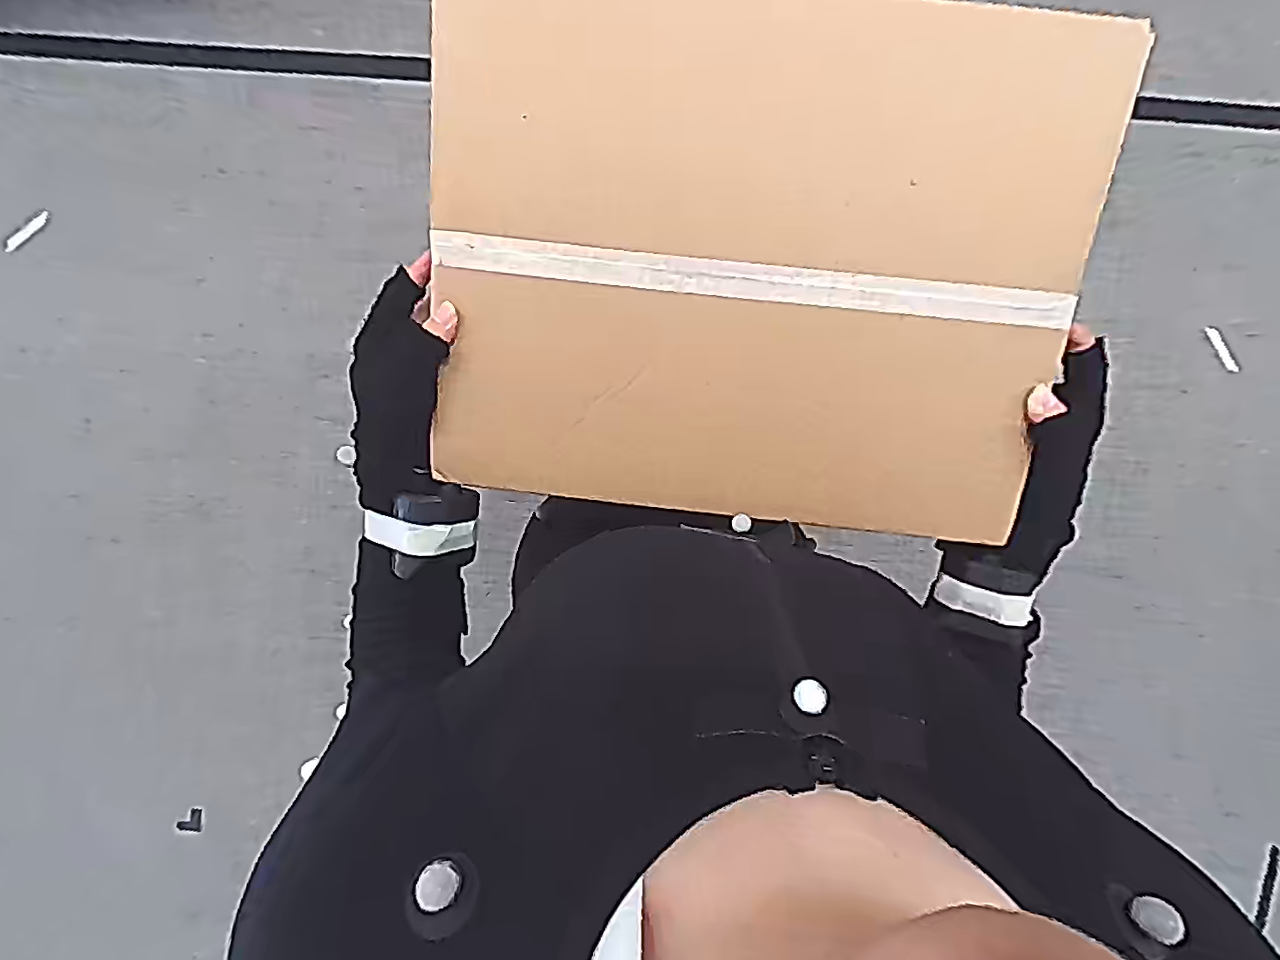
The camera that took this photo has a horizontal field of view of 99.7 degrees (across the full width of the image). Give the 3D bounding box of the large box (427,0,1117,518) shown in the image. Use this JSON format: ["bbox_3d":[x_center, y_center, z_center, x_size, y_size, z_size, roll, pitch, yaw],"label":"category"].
[{"bbox_3d":[0.069,-0.176,0.491,0.408,0.320,0.320,6,105,1],"label":"large box"}]
